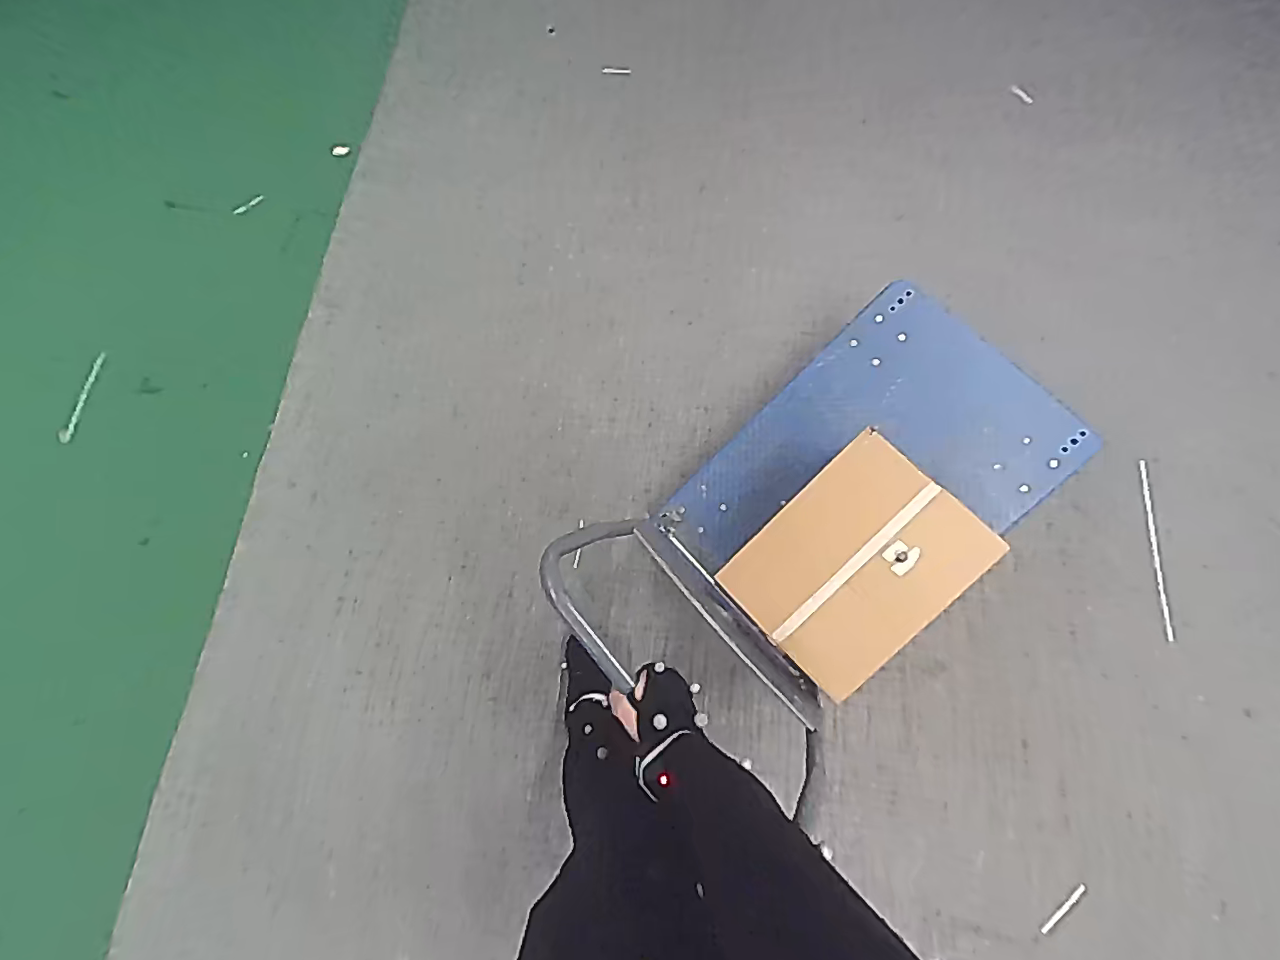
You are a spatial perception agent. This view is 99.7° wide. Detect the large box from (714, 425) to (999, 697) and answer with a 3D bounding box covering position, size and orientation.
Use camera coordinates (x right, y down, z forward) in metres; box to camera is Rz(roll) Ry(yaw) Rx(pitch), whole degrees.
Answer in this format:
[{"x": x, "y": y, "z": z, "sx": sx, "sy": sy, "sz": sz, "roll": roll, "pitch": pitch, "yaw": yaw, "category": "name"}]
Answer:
[{"x": 0.412, "y": 0.160, "z": 1.118, "sx": 0.408, "sy": 0.320, "sz": 0.320, "roll": -45, "pitch": 76, "yaw": 6, "category": "large box"}]
